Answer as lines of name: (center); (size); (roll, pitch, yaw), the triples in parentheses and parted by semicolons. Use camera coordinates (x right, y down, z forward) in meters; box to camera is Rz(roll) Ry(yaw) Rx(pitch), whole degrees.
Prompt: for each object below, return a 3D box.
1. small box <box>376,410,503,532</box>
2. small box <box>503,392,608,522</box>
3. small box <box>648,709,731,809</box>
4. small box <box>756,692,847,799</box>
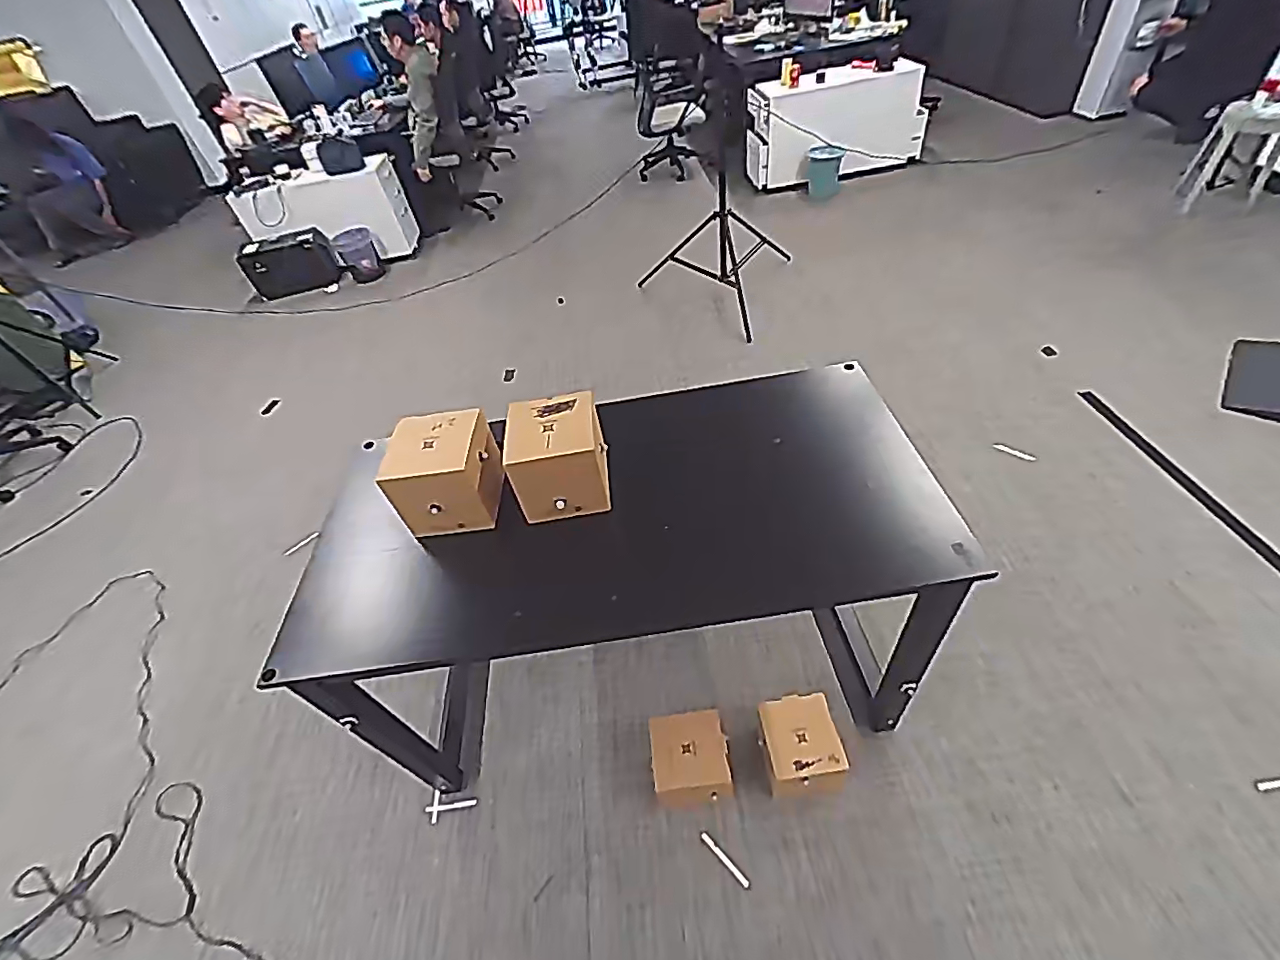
small box: (-0.380, -0.011, 1.066); (0.168, 0.176, 0.179); (-7, 45, 4)
small box: (-0.159, -0.043, 1.054); (0.168, 0.176, 0.179); (-10, 47, 1)
small box: (0.122, 0.685, 1.323); (0.179, 0.176, 0.168); (-10, 45, 2)
small box: (0.381, 0.644, 1.310); (0.168, 0.176, 0.179); (-10, 45, 2)
